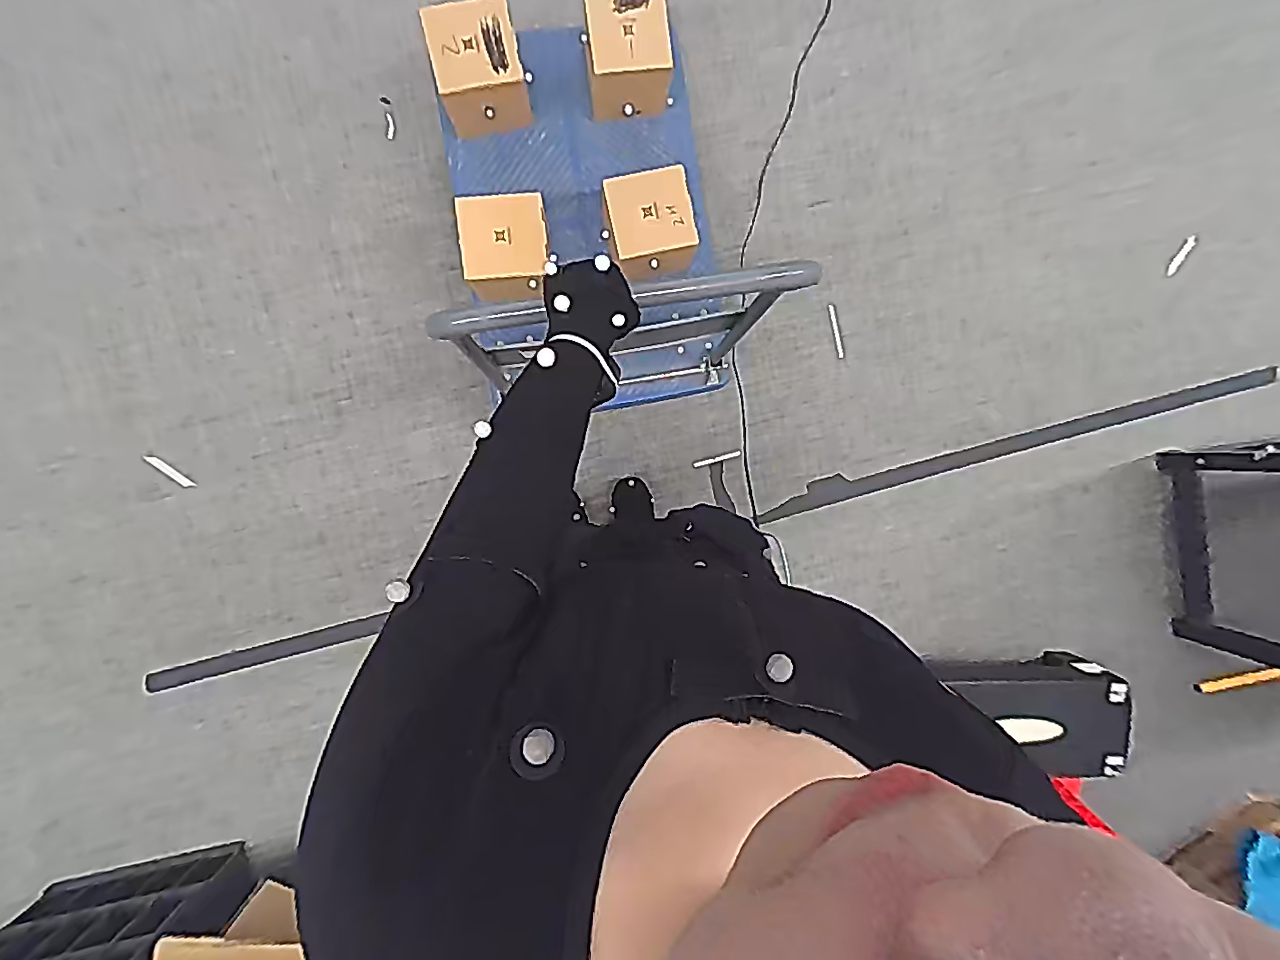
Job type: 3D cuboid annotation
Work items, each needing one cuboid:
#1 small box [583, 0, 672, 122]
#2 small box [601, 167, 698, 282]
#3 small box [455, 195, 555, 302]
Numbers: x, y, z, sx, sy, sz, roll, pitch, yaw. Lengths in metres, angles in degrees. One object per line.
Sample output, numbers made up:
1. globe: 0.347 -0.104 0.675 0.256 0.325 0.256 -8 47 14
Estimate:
1. small box: -0.032 -0.922 1.176 0.168 0.176 0.179 -8 95 -4
2. small box: 0.016 -0.556 1.201 0.179 0.176 0.168 -13 95 -4
3. small box: -0.287 -0.496 1.180 0.179 0.176 0.168 -7 93 -6
